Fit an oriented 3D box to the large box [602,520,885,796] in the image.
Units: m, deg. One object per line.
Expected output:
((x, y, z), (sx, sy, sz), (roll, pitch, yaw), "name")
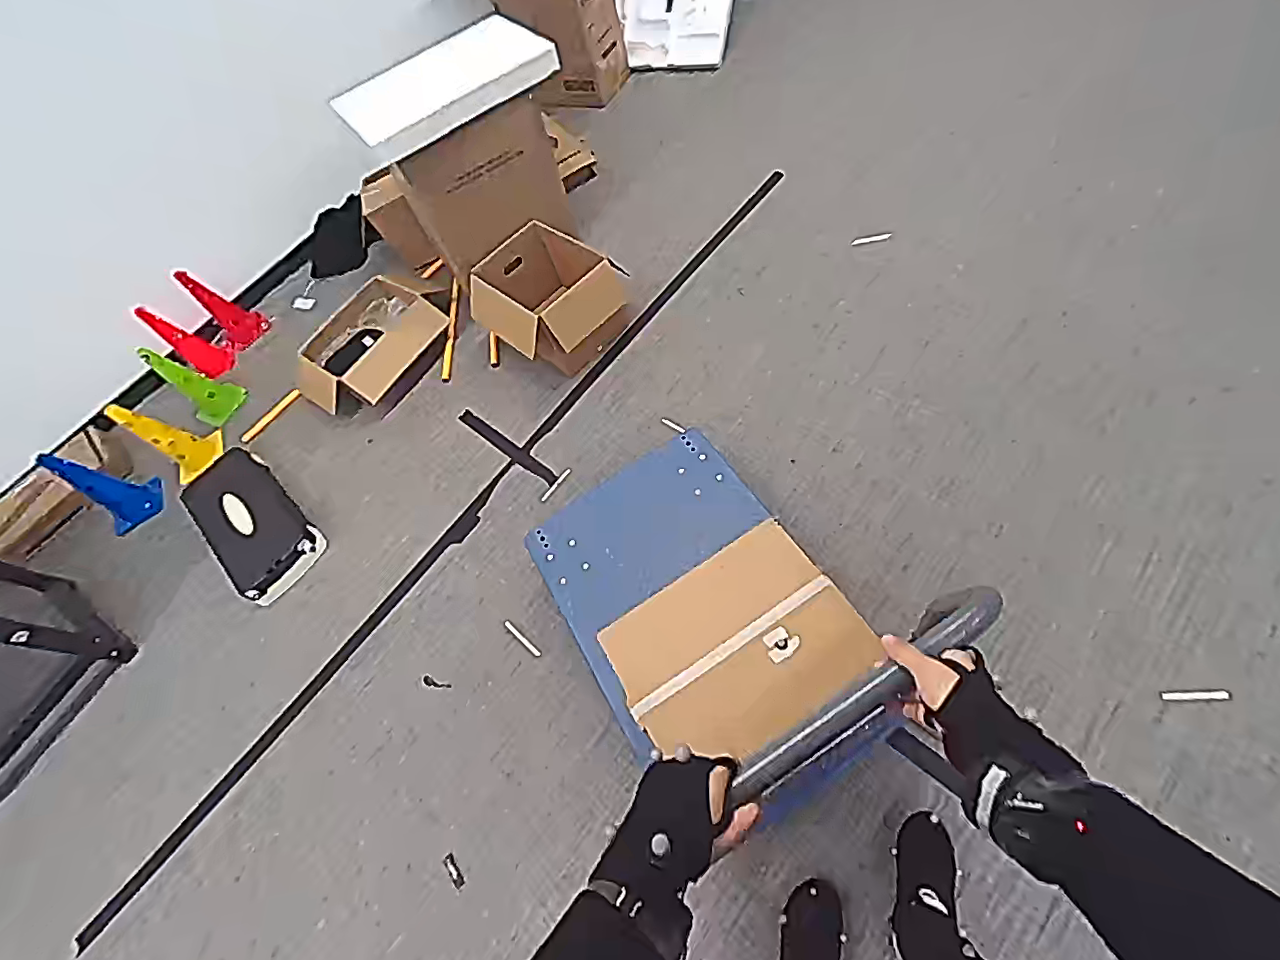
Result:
((0.198, 0.361, 1.071), (0.408, 0.320, 0.320), (-33, 59, -6), "large box")
